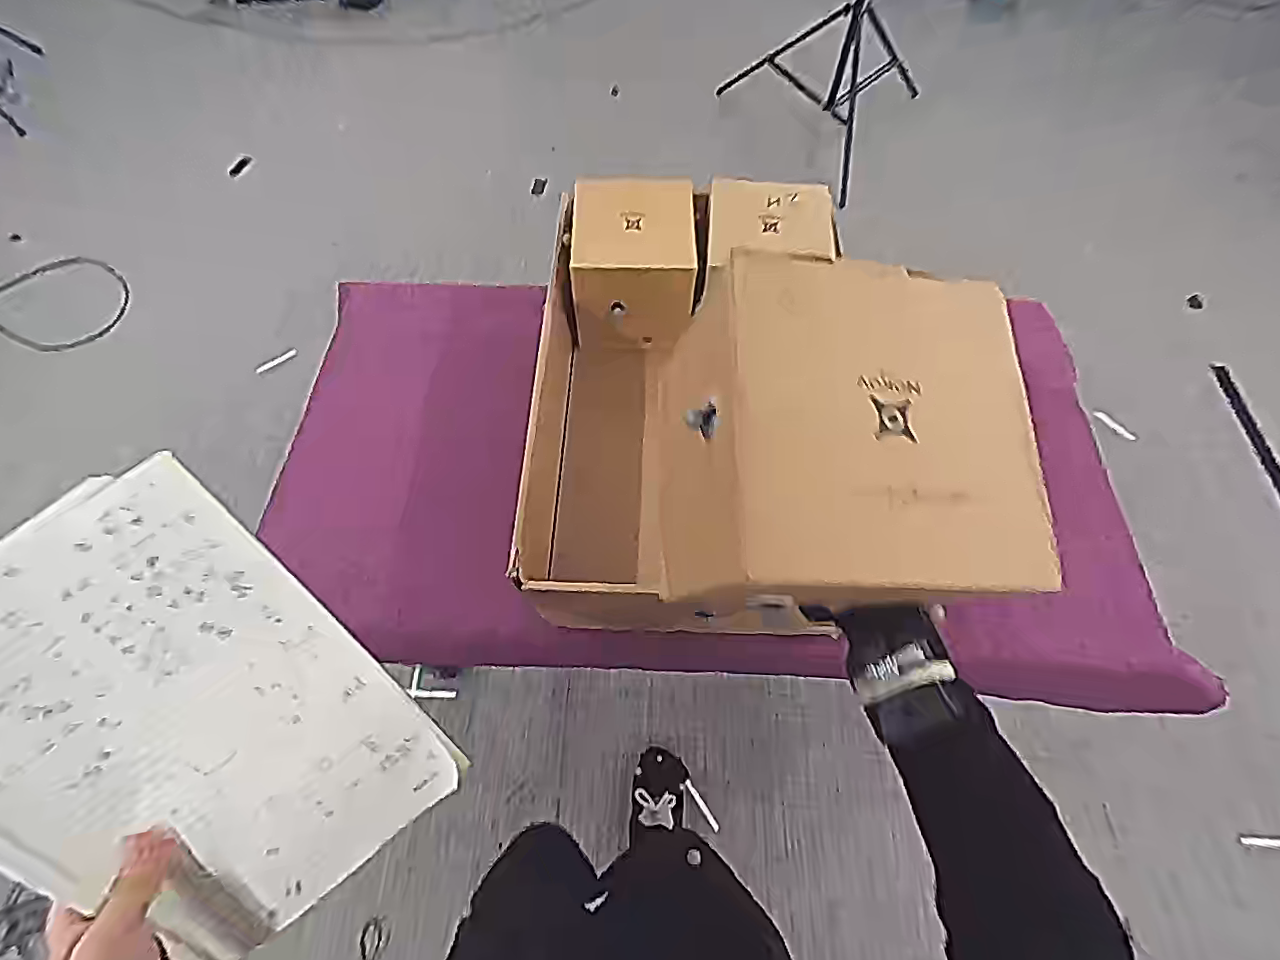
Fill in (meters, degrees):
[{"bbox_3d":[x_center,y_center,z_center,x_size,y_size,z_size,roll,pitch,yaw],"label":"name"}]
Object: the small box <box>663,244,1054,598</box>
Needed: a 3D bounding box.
[{"bbox_3d":[0.111,-0.018,0.354,0.168,0.176,0.179,2,75,-10],"label":"small box"}]
